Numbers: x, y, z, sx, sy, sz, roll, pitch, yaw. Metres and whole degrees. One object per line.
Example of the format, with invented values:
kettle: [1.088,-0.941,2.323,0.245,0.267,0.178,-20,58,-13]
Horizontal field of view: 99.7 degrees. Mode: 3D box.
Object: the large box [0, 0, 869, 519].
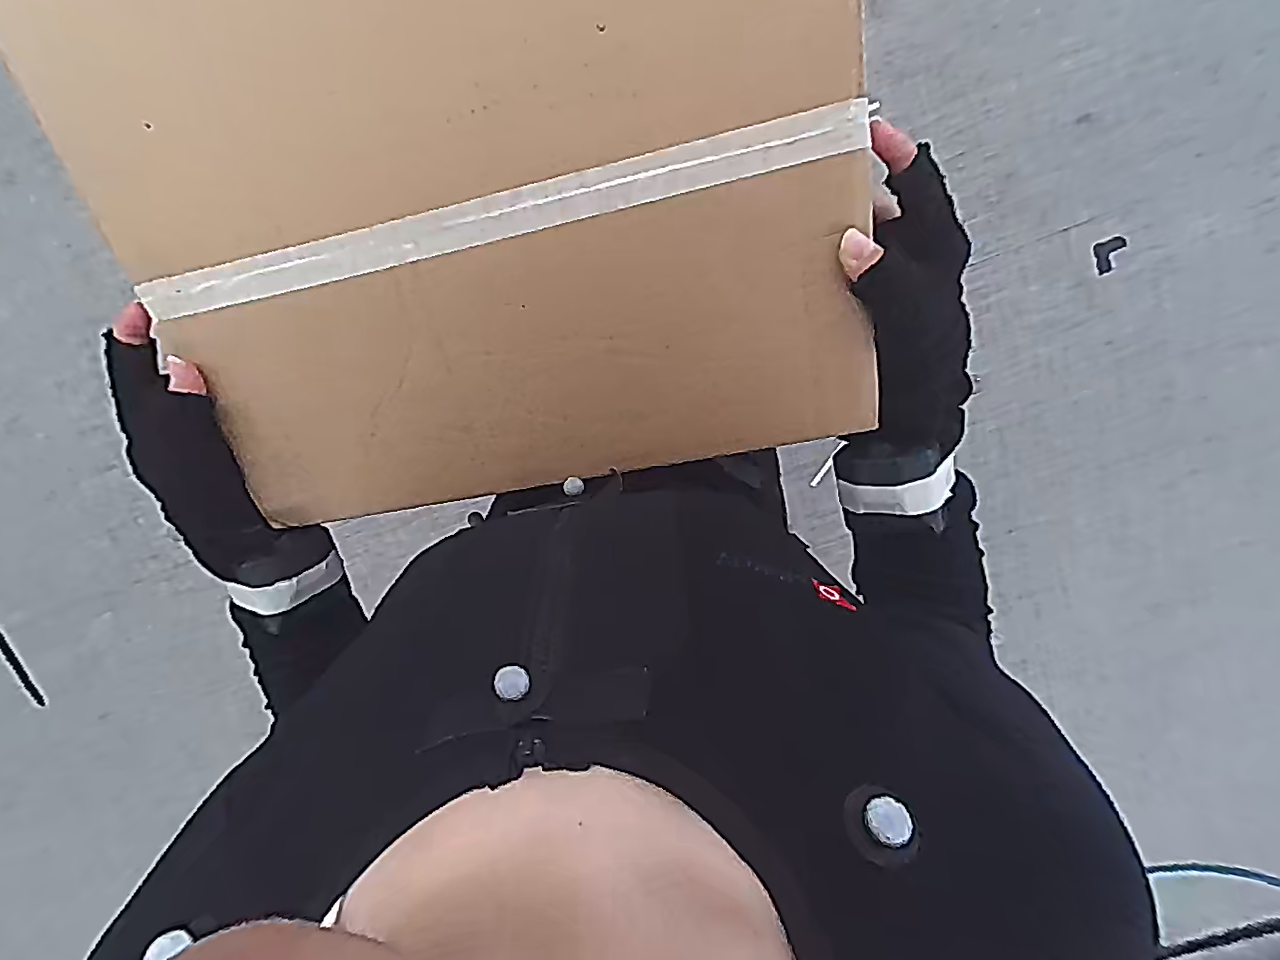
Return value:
large box: [-0.077,-0.206,0.426,0.408,0.320,0.320,-10,114,9]
